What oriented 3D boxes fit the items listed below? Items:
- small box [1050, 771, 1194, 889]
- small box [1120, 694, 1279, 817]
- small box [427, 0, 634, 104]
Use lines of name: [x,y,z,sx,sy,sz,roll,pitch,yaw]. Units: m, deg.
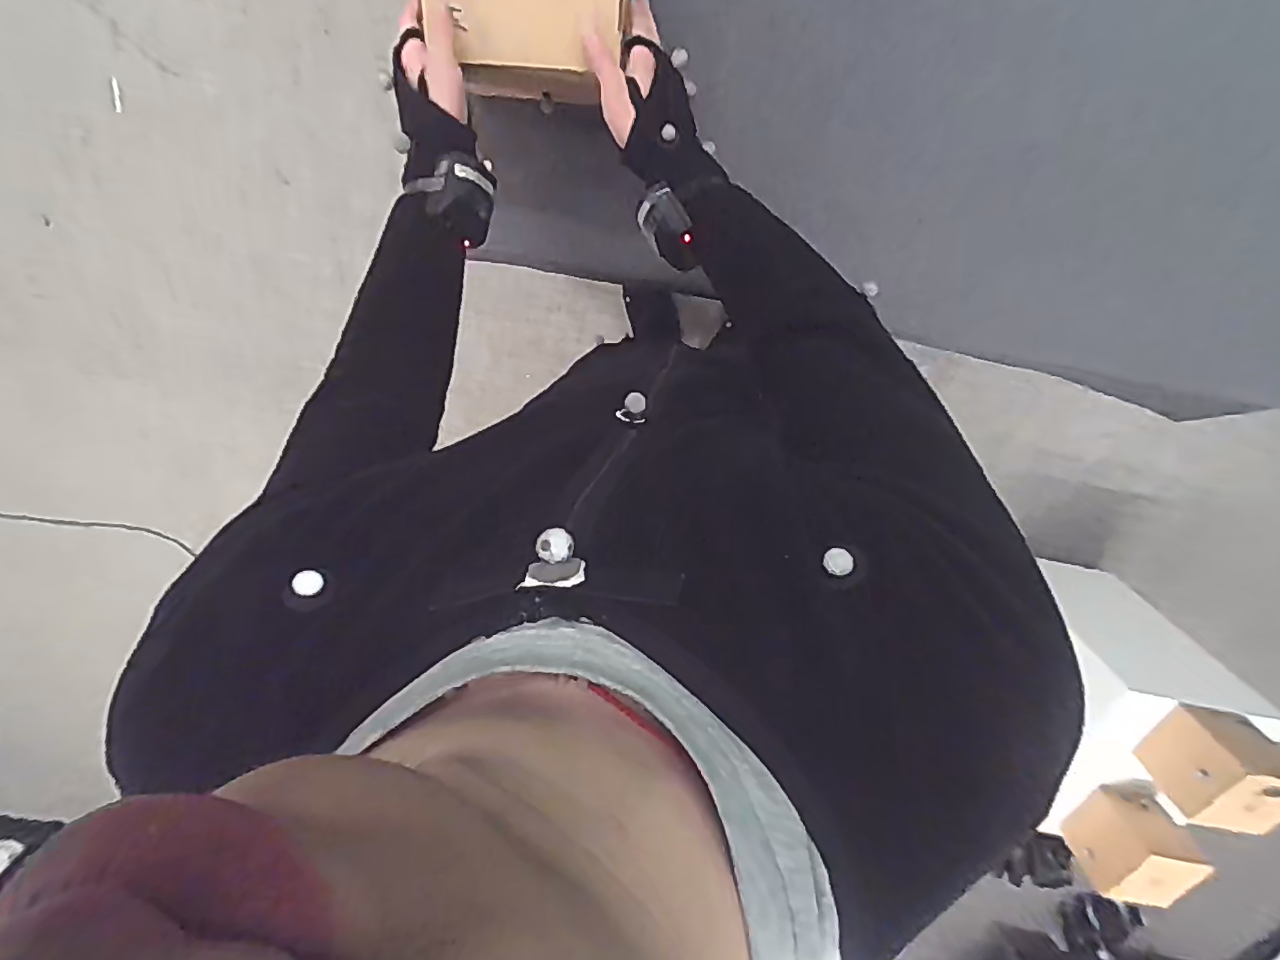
small box: [1.165,0.858,1.331,0.168,0.176,0.179,13,116,-7]
small box: [1.232,0.601,1.192,0.168,0.176,0.179,11,119,-5]
small box: [-0.092,-0.471,0.511,0.179,0.176,0.168,3,117,-2]
